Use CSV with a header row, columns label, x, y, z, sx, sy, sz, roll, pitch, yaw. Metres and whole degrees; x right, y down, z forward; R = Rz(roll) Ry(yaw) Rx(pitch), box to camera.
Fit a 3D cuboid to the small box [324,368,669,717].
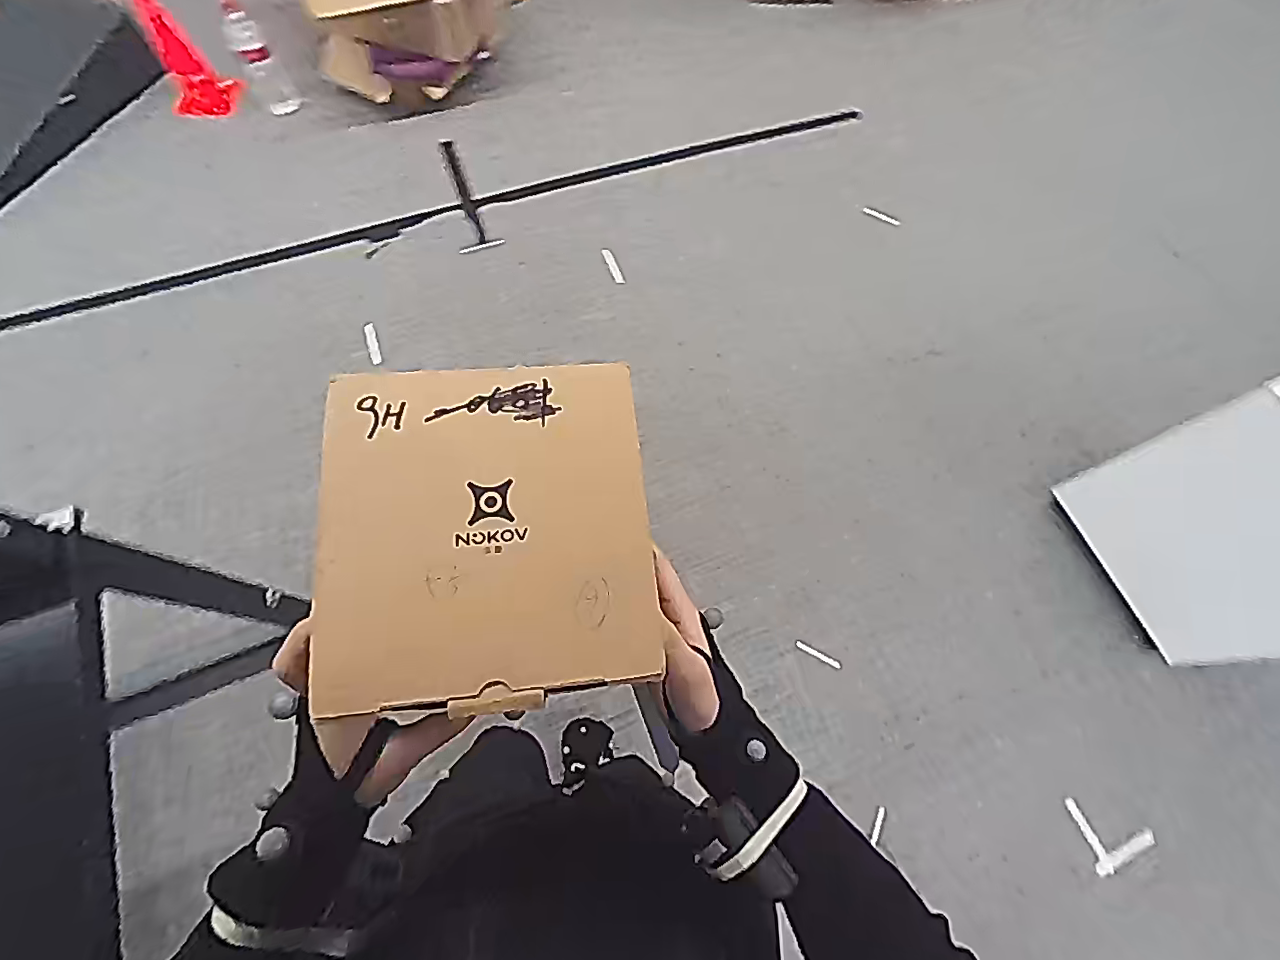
label,x,y,z,sx,sy,sz,roll,pitch,yaw
small box,-0.080,0.044,0.356,0.168,0.176,0.179,-3,73,-8
